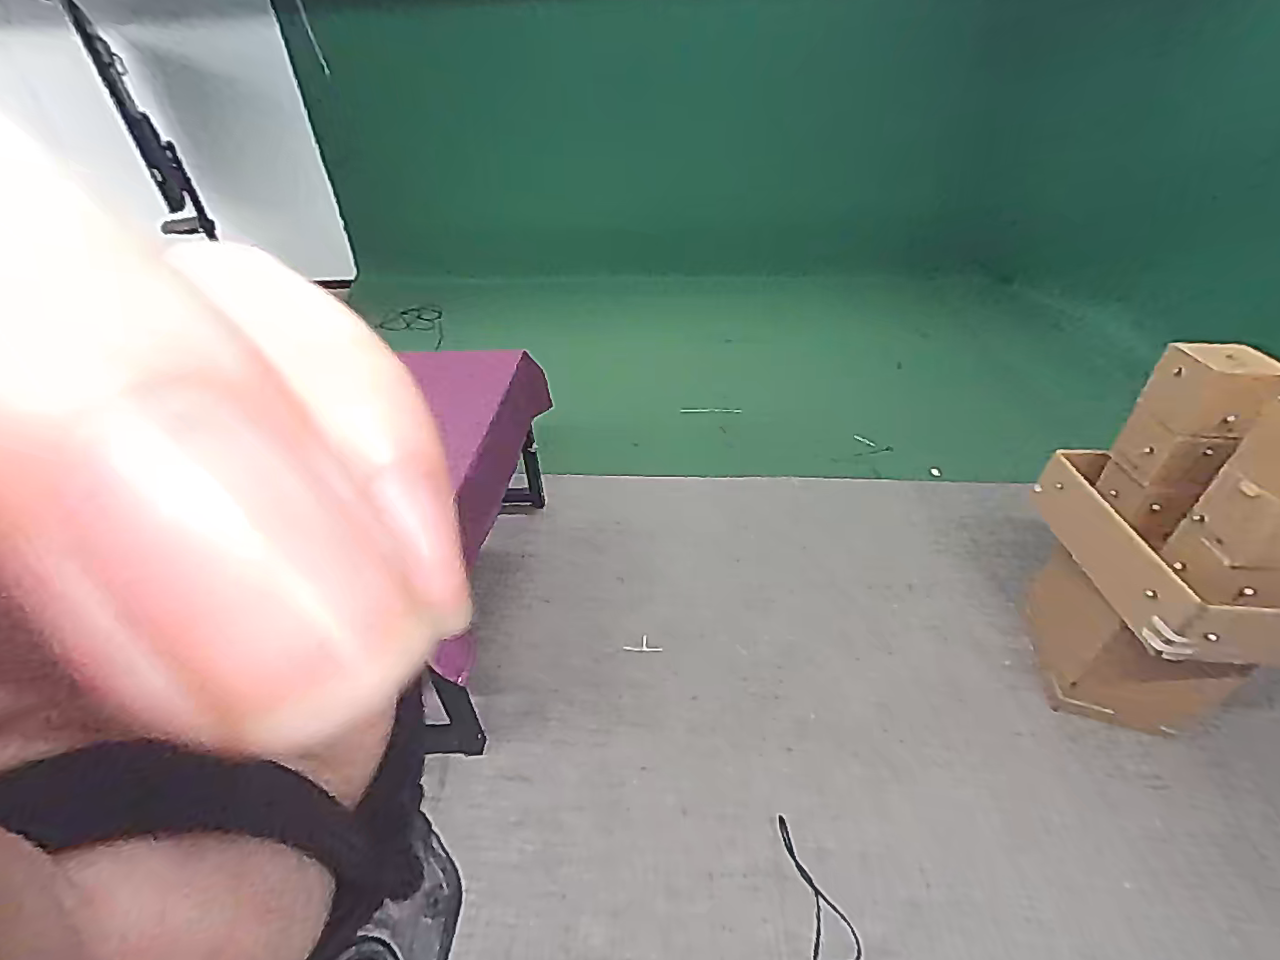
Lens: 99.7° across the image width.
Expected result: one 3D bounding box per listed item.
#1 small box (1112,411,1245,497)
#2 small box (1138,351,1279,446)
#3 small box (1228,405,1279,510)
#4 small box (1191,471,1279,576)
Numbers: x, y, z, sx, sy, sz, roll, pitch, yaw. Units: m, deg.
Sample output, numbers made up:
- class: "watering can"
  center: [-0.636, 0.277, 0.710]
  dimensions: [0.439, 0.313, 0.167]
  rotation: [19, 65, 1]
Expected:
- class: "small box"
  center: [1.405, -0.069, 1.426]
  dimensions: [0.179, 0.176, 0.168]
  rotation: [3, 37, 5]
- class: "small box"
  center: [1.394, -0.203, 1.330]
  dimensions: [0.168, 0.176, 0.179]
  rotation: [4, 37, 9]
- class: "small box"
  center: [1.389, -0.036, 1.102]
  dimensions: [0.168, 0.176, 0.179]
  rotation: [3, 37, 7]
- class: "small box"
  center: [1.390, 0.099, 1.194]
  dimensions: [0.179, 0.176, 0.168]
  rotation: [4, 36, 7]
